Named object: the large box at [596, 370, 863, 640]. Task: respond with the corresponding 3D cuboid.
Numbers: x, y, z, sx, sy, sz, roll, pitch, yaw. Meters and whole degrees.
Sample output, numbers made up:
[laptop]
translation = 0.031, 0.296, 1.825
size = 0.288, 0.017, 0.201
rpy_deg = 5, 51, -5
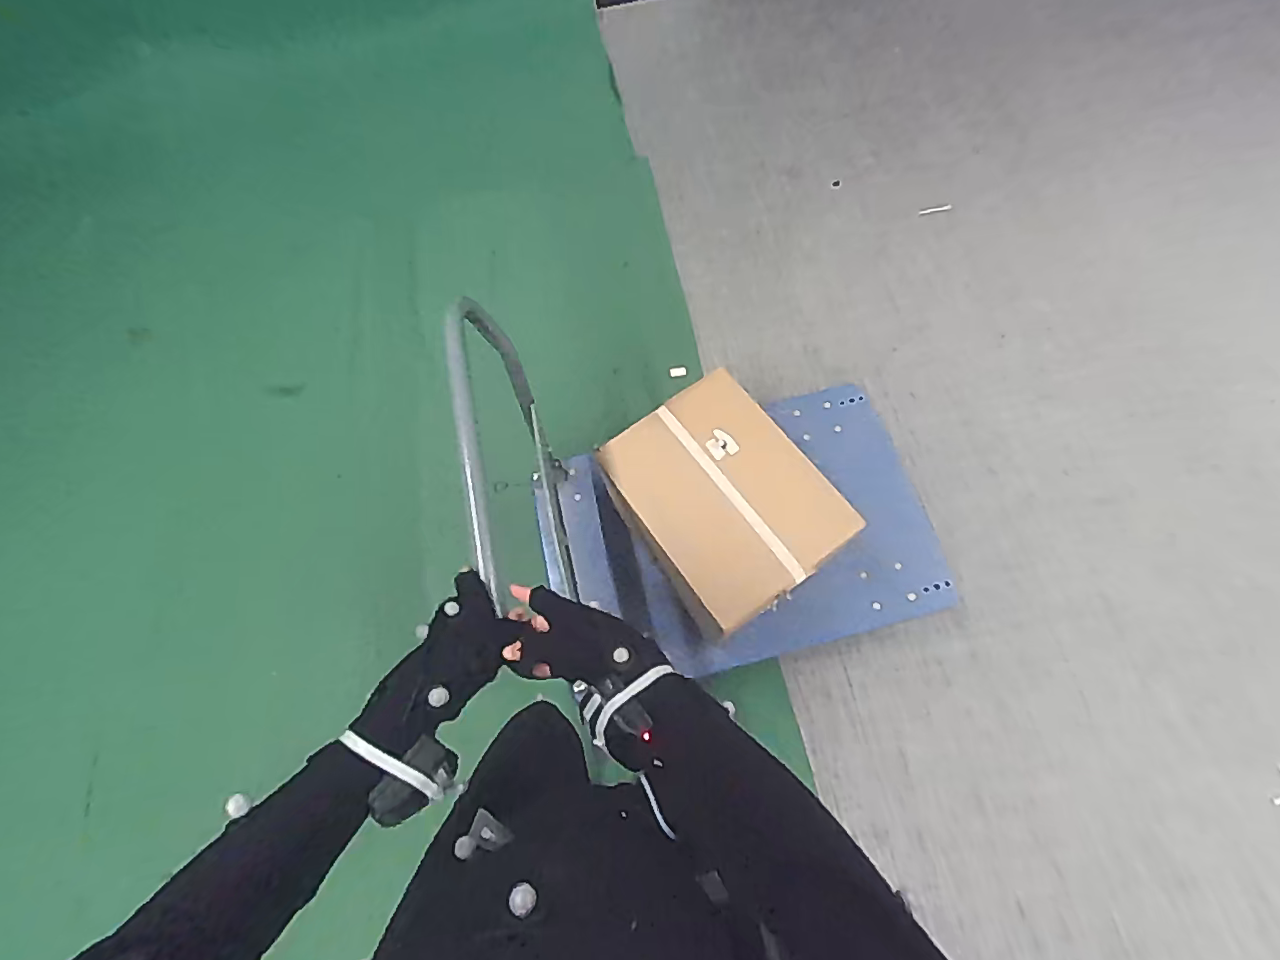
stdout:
[large box]
translation = 0.167, 0.064, 1.114
size = 0.320, 0.320, 0.408
rpy_deg = -34, 69, -9
